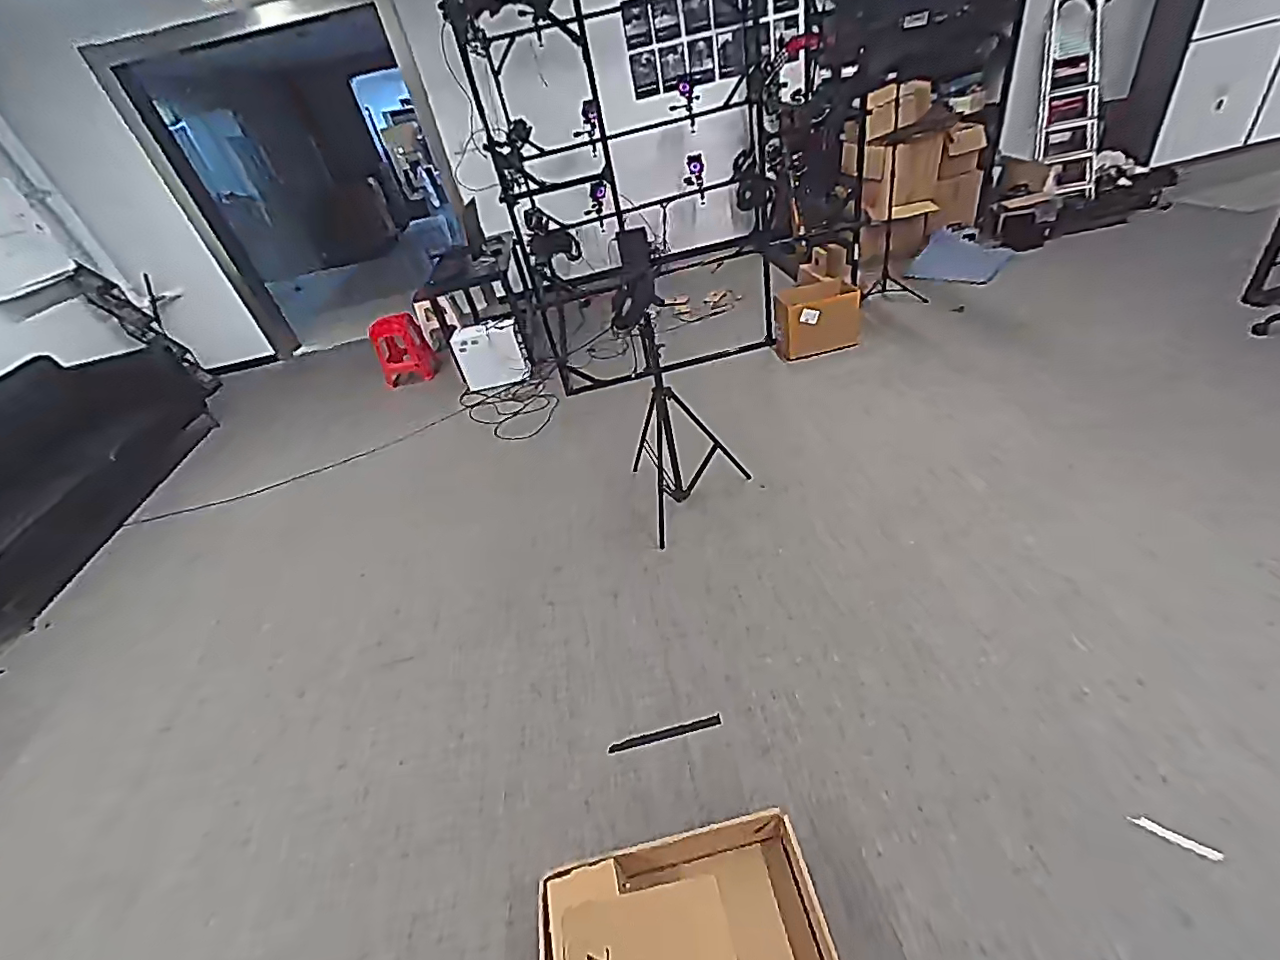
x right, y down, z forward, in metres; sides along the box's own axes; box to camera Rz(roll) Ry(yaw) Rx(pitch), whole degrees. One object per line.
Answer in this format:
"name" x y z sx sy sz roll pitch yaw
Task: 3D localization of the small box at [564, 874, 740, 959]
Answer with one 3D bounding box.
"small box" 0.016 0.556 0.573 0.179 0.176 0.168 -7 37 -7
